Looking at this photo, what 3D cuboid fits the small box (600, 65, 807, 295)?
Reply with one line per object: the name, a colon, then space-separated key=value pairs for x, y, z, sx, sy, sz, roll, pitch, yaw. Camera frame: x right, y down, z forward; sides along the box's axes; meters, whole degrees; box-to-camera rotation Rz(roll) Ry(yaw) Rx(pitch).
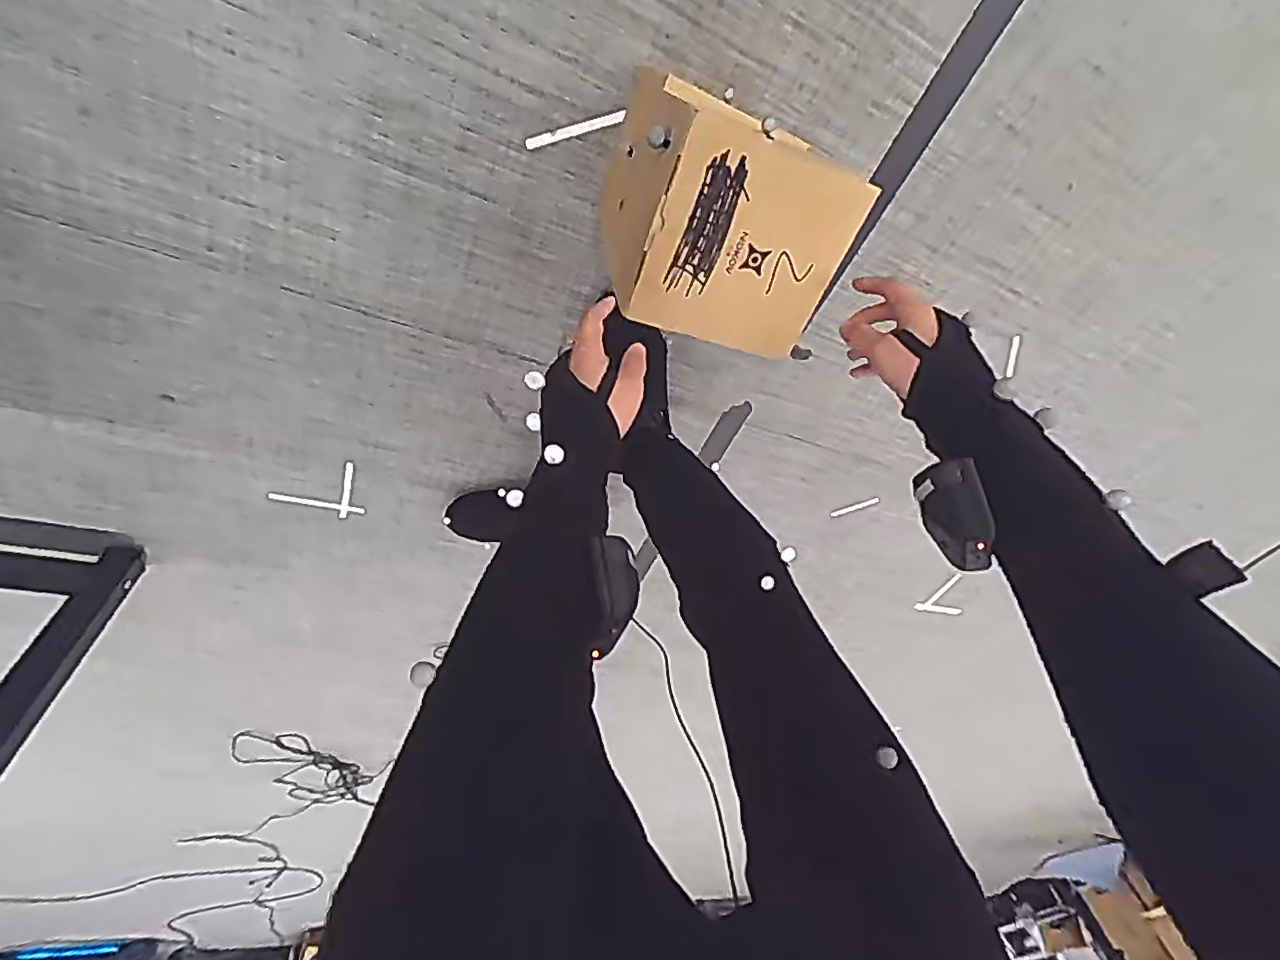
small box: x=0.058 y=-0.356 z=0.640 sx=0.168 sy=0.176 sz=0.179 roll=13 pitch=127 yaw=-21
